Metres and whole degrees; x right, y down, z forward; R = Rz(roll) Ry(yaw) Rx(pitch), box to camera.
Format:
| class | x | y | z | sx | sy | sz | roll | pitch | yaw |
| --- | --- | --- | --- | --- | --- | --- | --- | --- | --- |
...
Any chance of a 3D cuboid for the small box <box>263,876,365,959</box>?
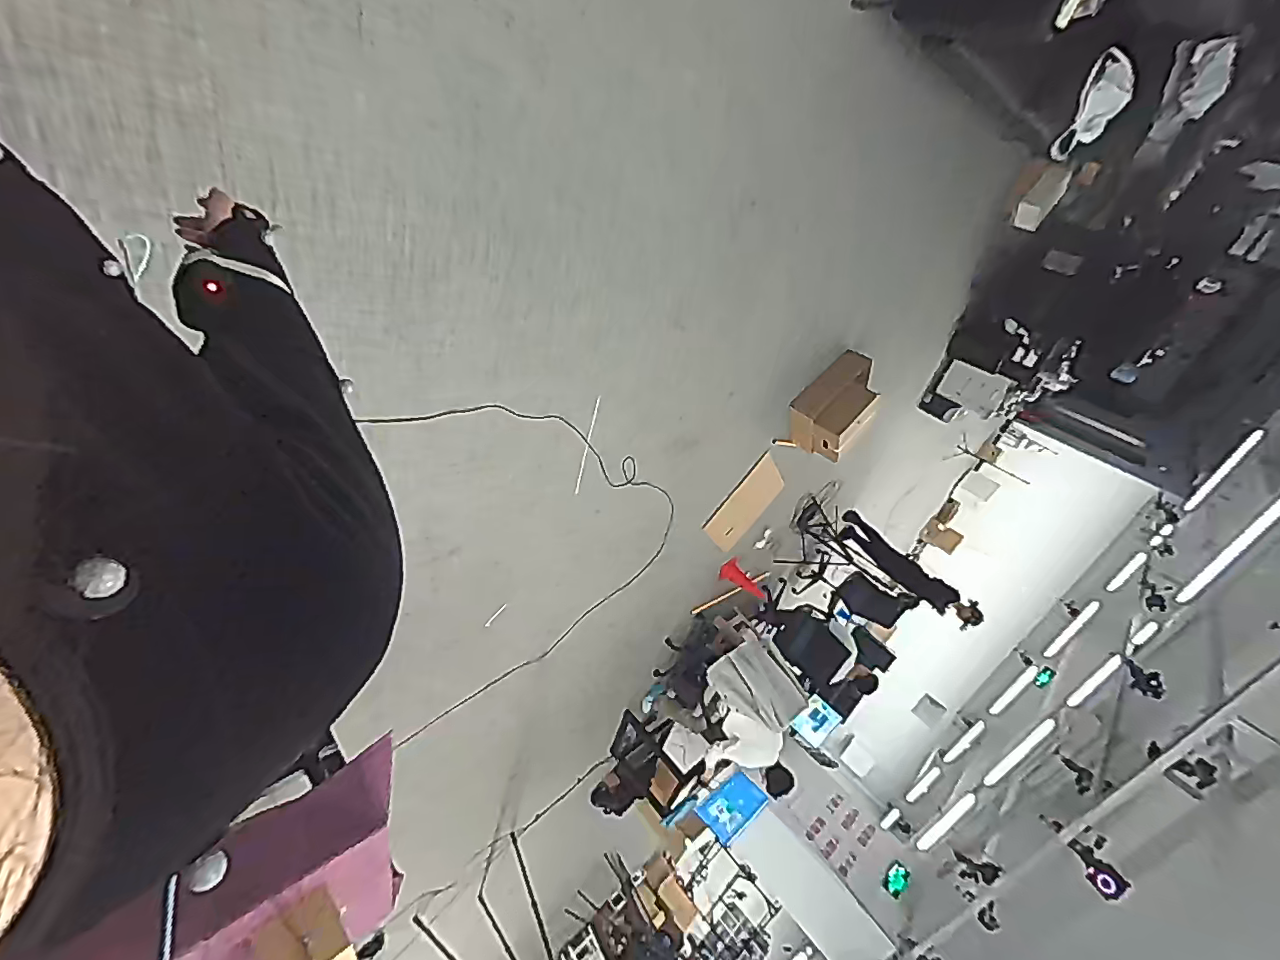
| class | x | y | z | sx | sy | sz | roll | pitch | yaw |
| --- | --- | --- | --- | --- | --- | --- | --- | --- | --- |
| small box | -0.820 | 1.159 | 1.359 | 0.179 | 0.176 | 0.168 | -21 | 138 | -40 |
